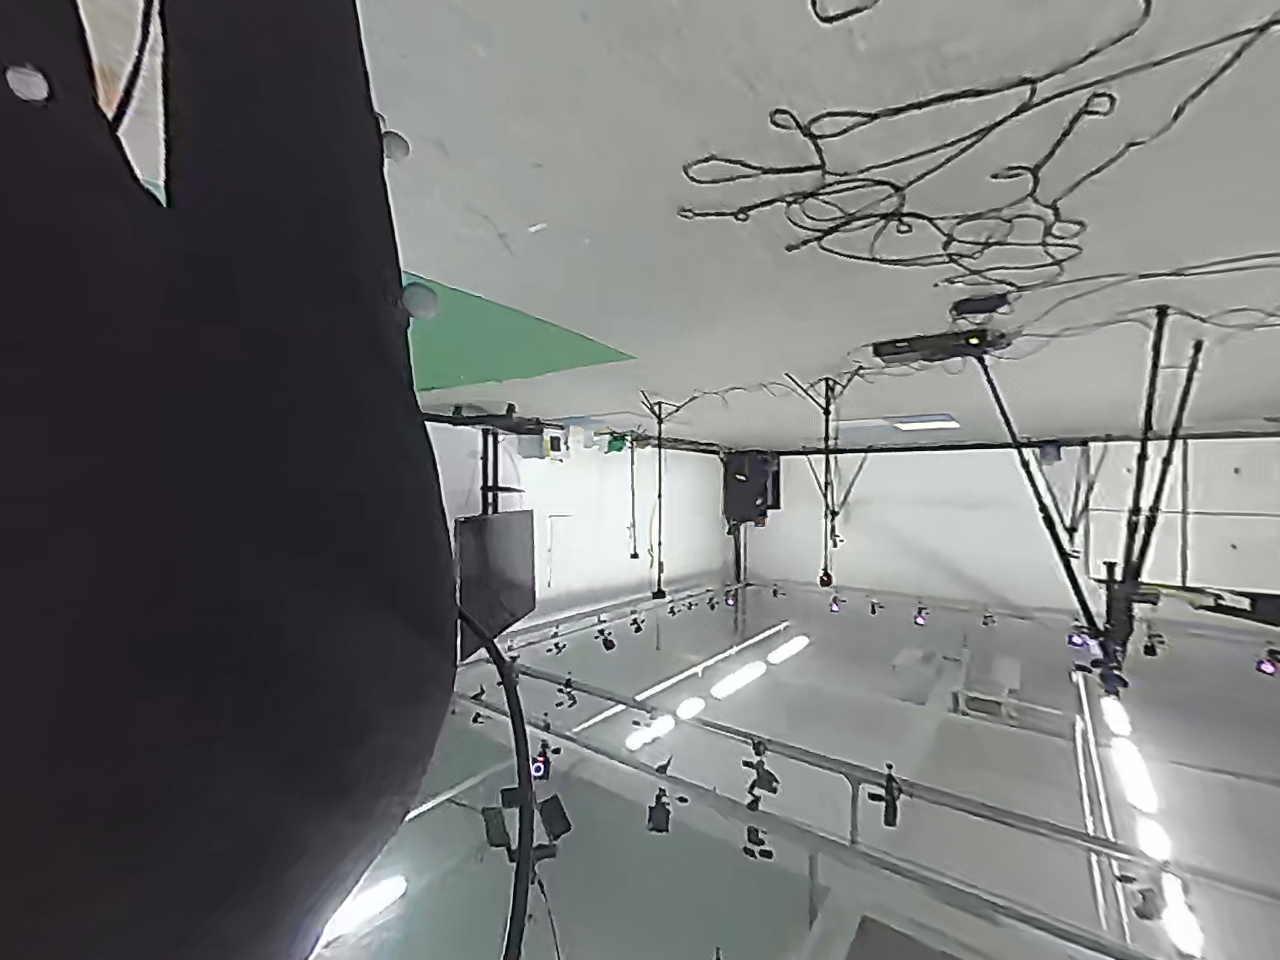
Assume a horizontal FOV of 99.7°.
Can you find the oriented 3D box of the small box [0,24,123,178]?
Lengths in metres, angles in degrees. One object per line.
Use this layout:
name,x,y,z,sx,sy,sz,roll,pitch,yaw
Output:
small box,-1.058,-0.654,0.959,0.168,0.176,0.179,0,180,33
